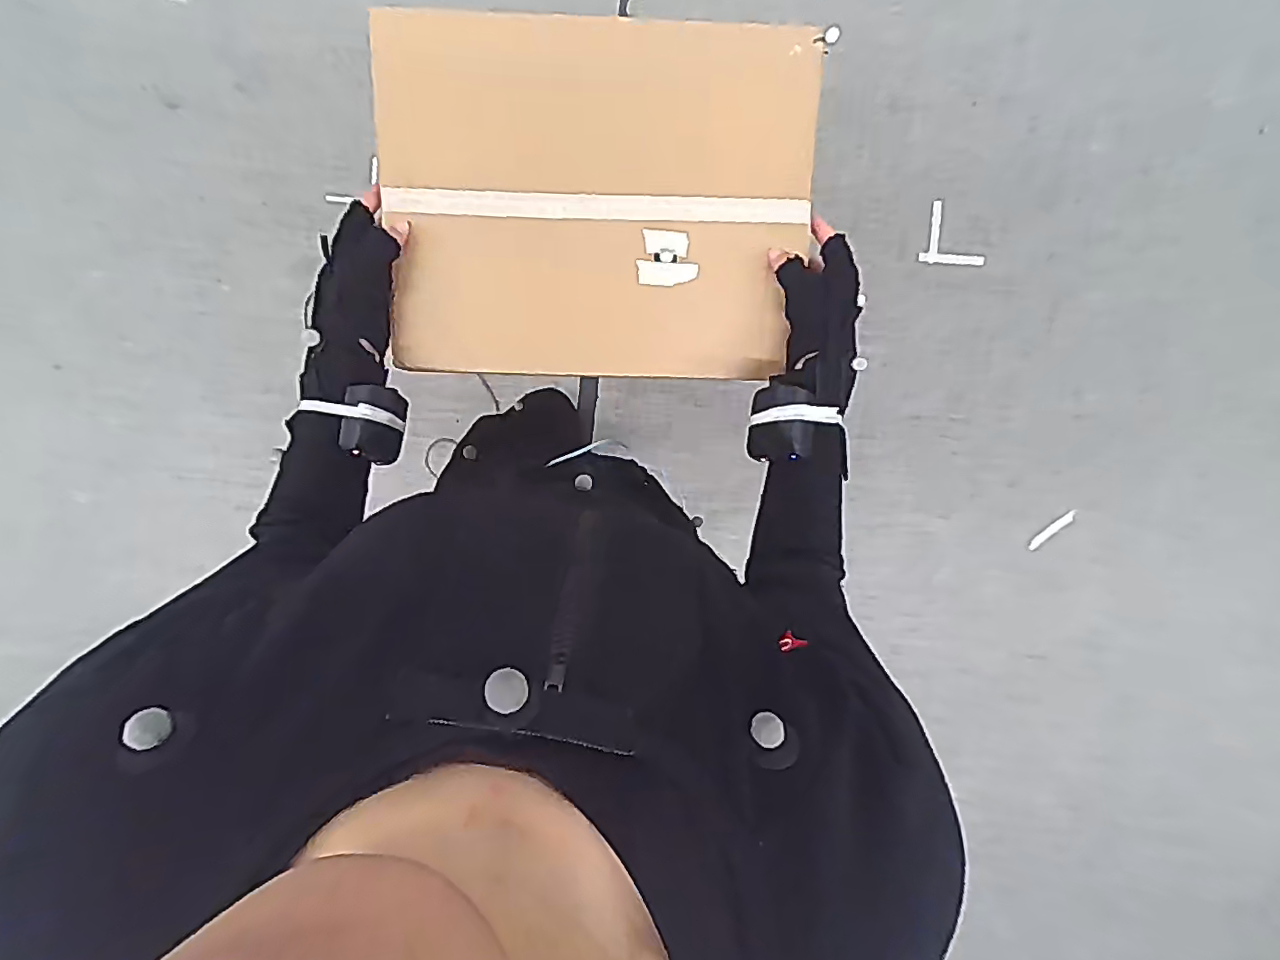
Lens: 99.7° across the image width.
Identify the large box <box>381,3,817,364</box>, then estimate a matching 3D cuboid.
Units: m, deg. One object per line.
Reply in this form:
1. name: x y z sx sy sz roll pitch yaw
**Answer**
1. large box: -0.044 -0.304 0.664 0.408 0.320 0.320 1 103 -2
